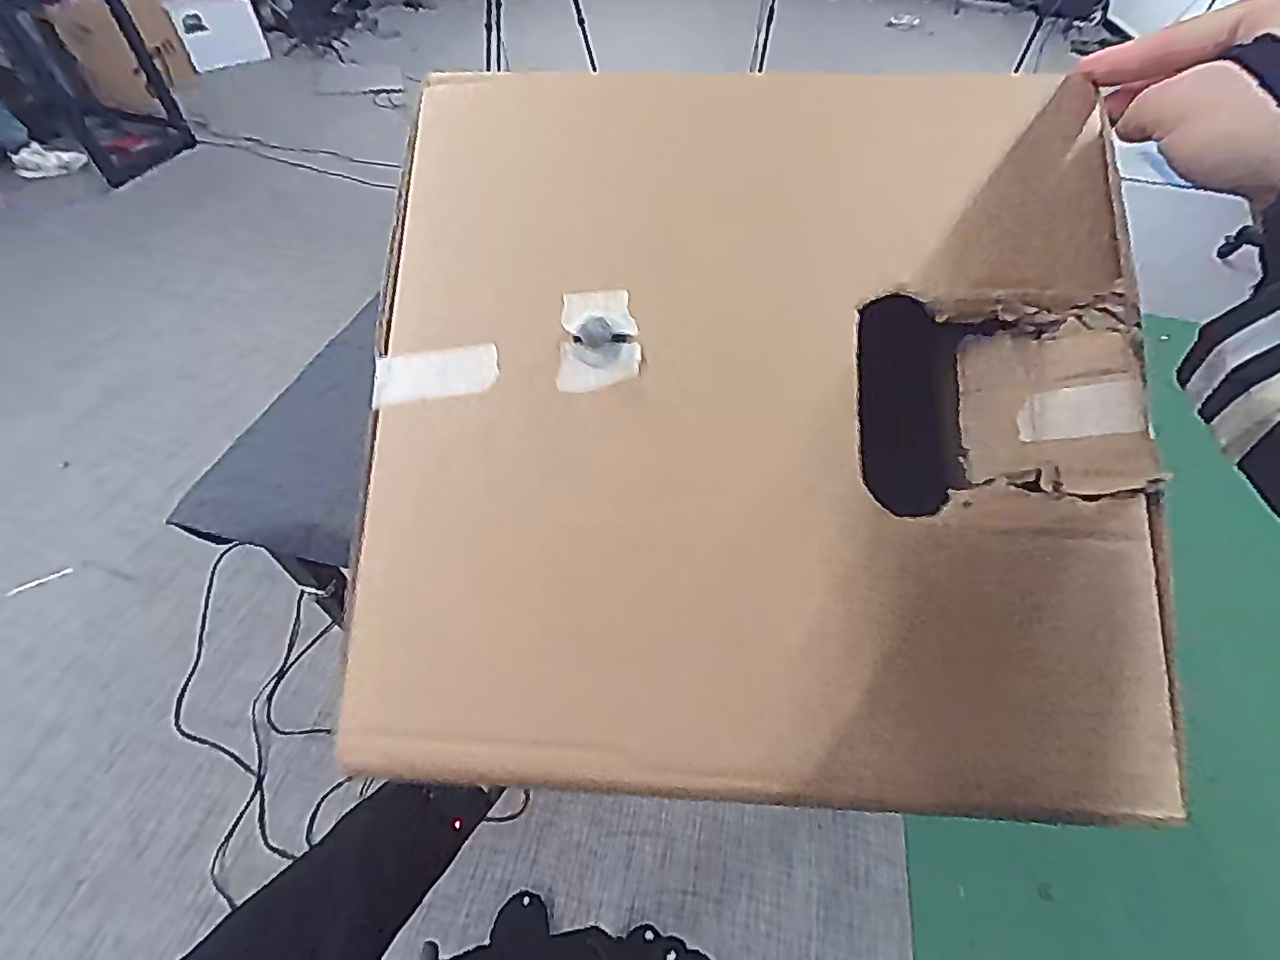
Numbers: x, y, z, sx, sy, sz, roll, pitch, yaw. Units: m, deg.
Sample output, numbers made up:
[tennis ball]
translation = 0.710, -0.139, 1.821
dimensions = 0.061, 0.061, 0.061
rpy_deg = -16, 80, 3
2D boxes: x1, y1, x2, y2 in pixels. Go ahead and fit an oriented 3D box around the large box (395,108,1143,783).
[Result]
[large box]
translation = 0.049, -0.001, 0.428
dimensions = 0.320, 0.408, 0.320
rpy_deg = 2, 80, 0
